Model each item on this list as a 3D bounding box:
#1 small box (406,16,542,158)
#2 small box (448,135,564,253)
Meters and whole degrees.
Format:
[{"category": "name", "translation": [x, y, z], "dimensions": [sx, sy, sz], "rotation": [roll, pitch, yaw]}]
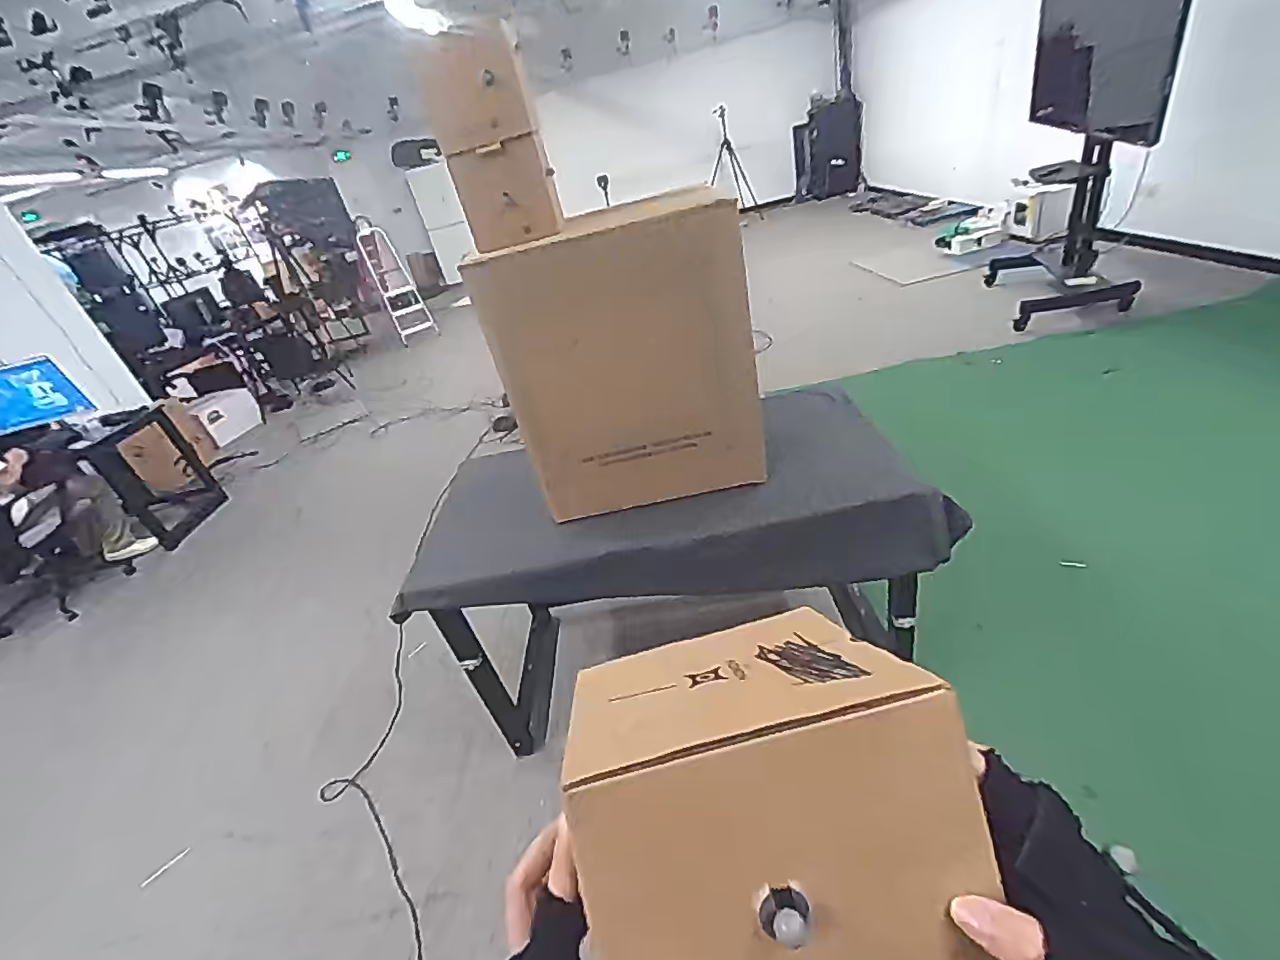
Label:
[{"category": "small box", "translation": [-0.281, -0.685, 0.961], "dimensions": [0.168, 0.176, 0.179], "rotation": [-11, 33, 3]}, {"category": "small box", "translation": [-0.250, -0.557, 1.057], "dimensions": [0.168, 0.176, 0.179], "rotation": [-12, 34, 2]}]
